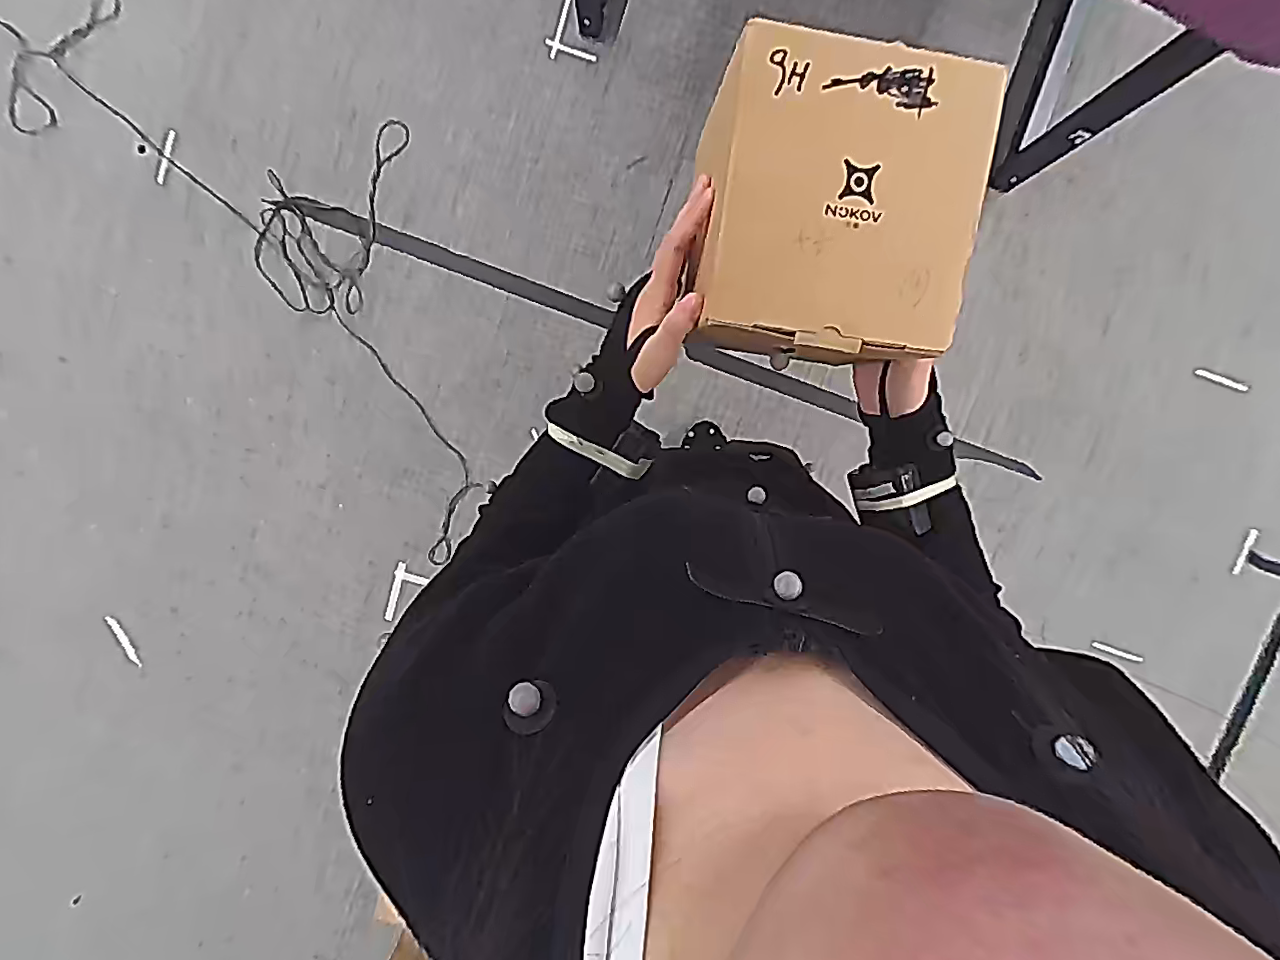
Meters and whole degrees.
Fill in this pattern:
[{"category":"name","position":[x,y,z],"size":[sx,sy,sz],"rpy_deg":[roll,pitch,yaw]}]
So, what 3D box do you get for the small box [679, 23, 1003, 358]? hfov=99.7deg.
[{"category":"small box","position":[0.129,-0.193,0.421],"size":[0.168,0.176,0.179],"rpy_deg":[6,100,-5]}]
